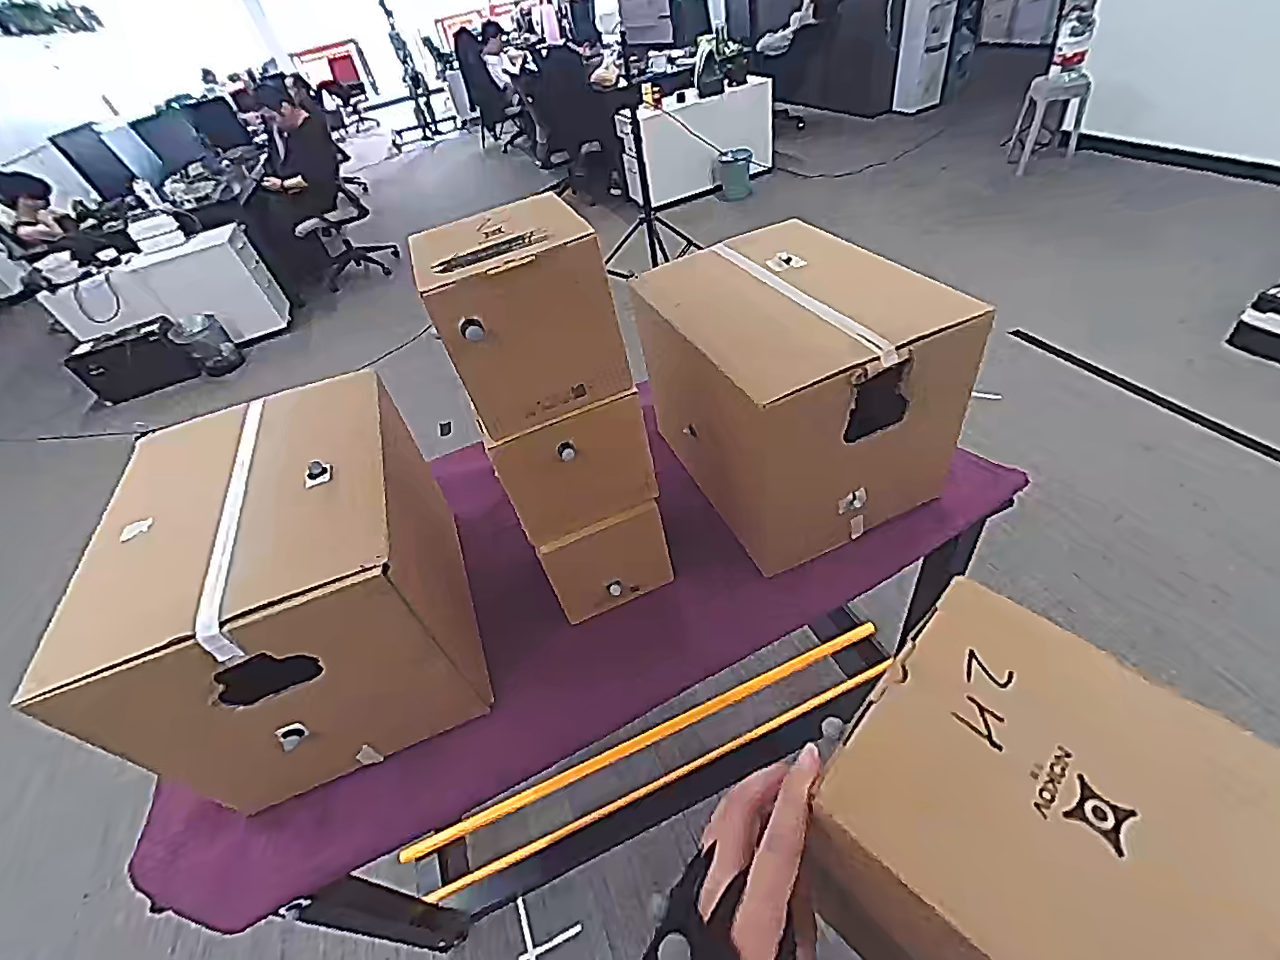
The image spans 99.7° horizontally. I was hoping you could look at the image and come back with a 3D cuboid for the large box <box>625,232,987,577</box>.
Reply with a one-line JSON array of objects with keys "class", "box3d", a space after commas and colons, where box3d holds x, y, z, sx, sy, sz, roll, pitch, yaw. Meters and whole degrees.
[{"class": "large box", "box3d": [0.218, -0.133, 0.833, 0.320, 0.320, 0.408, -23, 43, -10]}]
